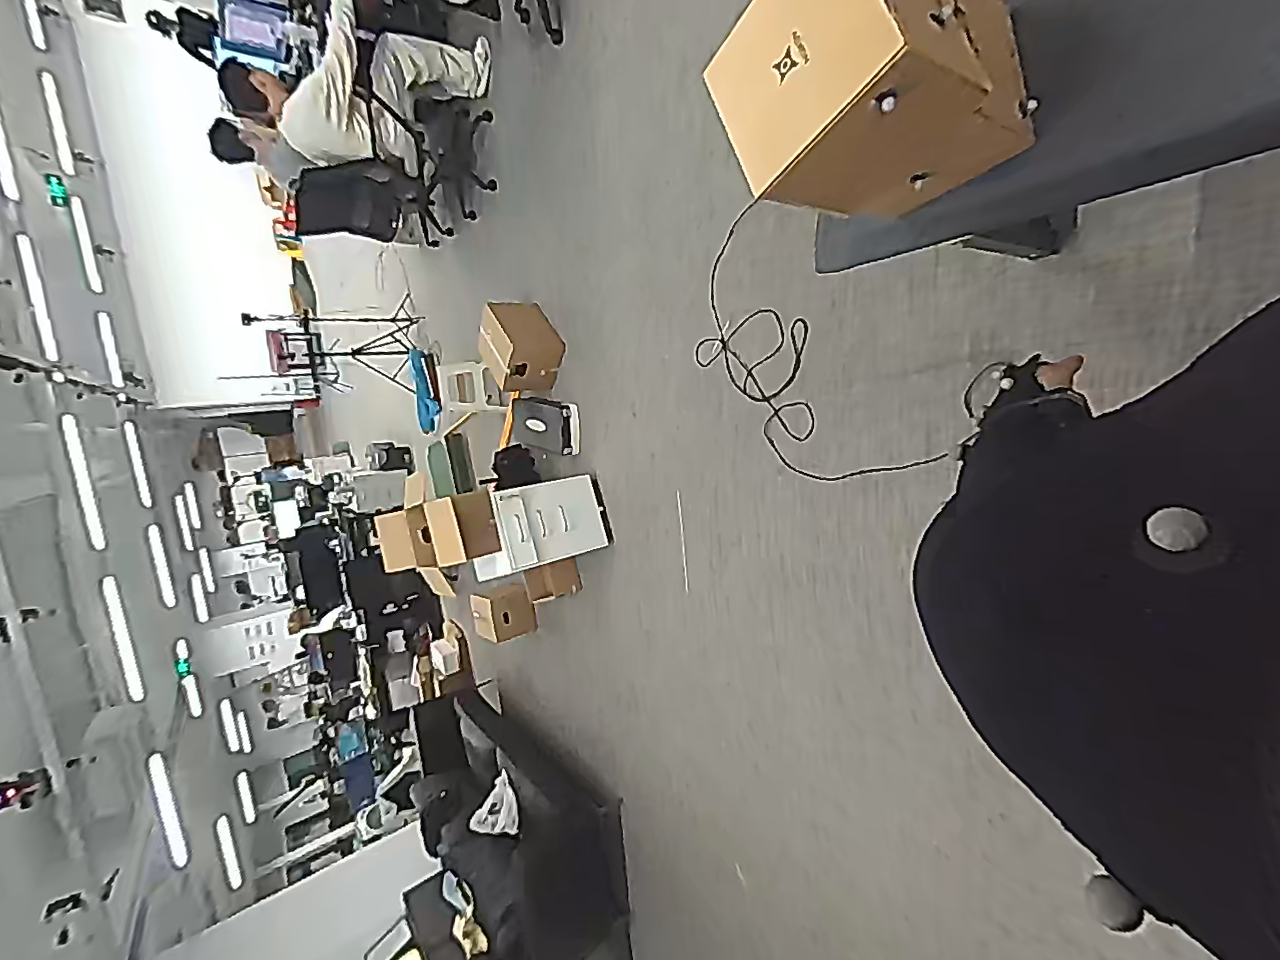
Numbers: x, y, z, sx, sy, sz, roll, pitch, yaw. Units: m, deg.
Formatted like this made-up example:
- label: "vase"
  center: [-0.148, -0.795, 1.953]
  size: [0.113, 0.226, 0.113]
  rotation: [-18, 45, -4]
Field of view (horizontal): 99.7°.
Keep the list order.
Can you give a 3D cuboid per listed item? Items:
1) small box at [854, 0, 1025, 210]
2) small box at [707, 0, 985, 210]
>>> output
- label: "small box"
  center: [0.332, -0.452, 0.651]
  size: [0.179, 0.176, 0.168]
  rotation: [-11, 91, 55]
- label: "small box"
  center: [0.206, -0.409, 0.556]
  size: [0.179, 0.176, 0.168]
  rotation: [-32, 75, 52]
